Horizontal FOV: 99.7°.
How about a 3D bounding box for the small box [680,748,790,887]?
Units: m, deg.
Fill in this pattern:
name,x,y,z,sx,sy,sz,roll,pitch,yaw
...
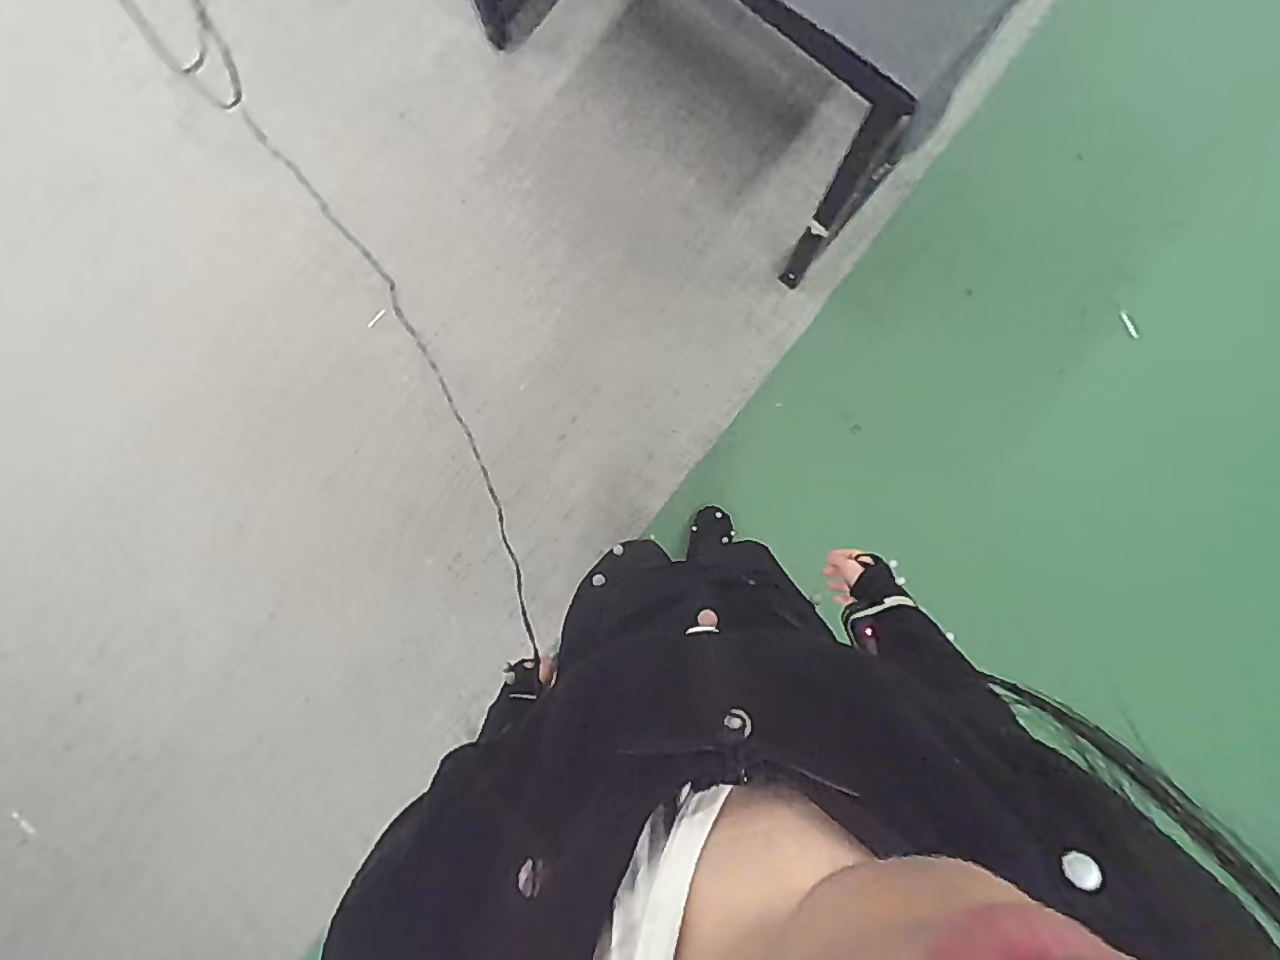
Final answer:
name,x,y,z,sx,sy,sz,roll,pitch,yaw
small box,0.207,0.752,1.229,0.179,0.176,0.168,35,89,2
